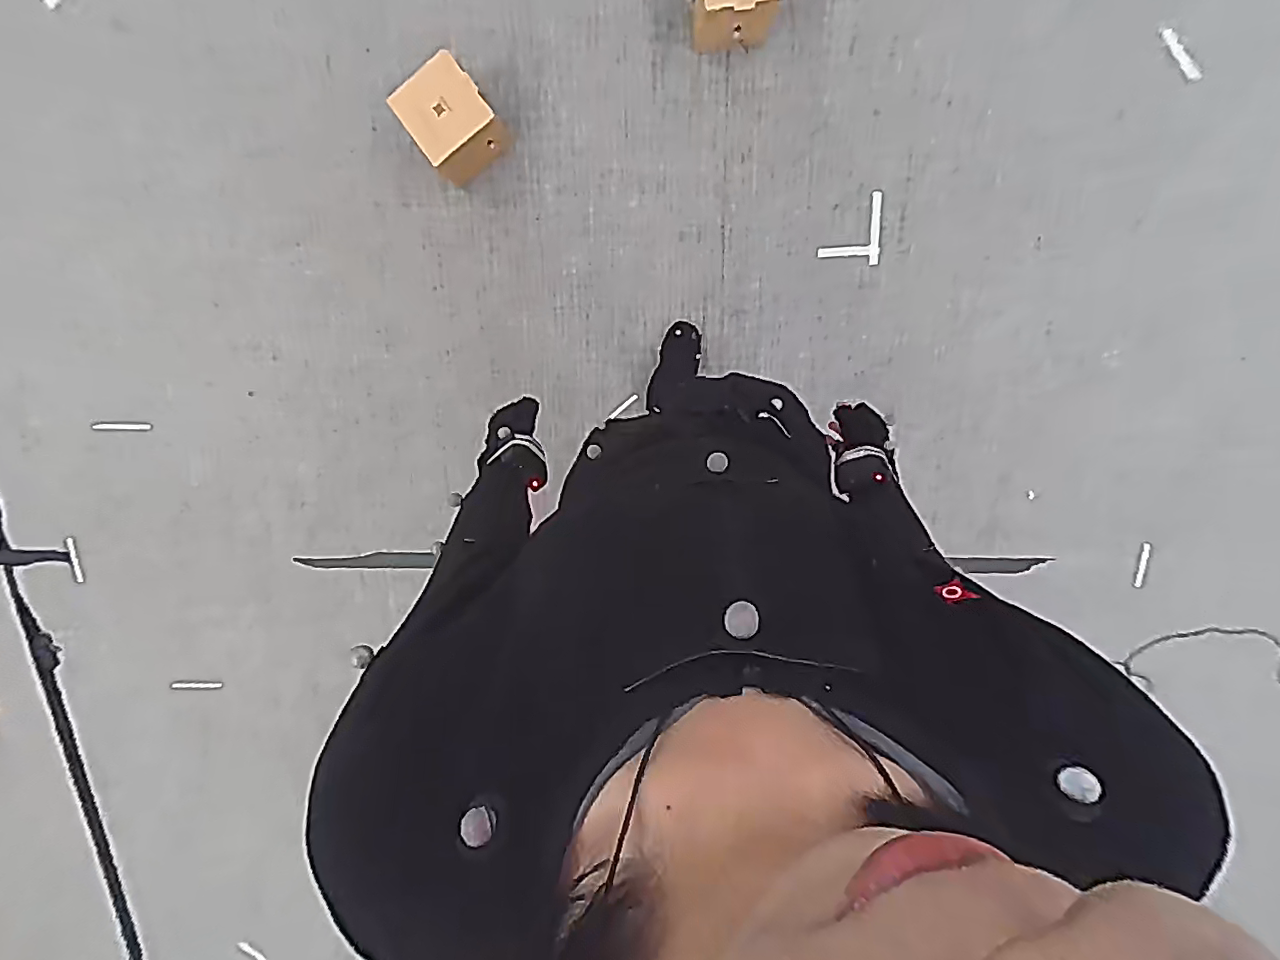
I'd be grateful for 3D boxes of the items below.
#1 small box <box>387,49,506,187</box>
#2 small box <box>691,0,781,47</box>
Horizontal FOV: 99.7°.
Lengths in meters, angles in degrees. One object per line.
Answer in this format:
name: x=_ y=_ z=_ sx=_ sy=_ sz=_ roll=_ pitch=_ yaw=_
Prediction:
small box: x=-0.426 y=-0.812 z=1.234 sx=0.179 sy=0.176 sz=0.168 roll=-36 pitch=100 yaw=8
small box: x=0.202 y=-1.080 z=1.175 sx=0.168 sy=0.176 sz=0.179 roll=-7 pitch=105 yaw=1
